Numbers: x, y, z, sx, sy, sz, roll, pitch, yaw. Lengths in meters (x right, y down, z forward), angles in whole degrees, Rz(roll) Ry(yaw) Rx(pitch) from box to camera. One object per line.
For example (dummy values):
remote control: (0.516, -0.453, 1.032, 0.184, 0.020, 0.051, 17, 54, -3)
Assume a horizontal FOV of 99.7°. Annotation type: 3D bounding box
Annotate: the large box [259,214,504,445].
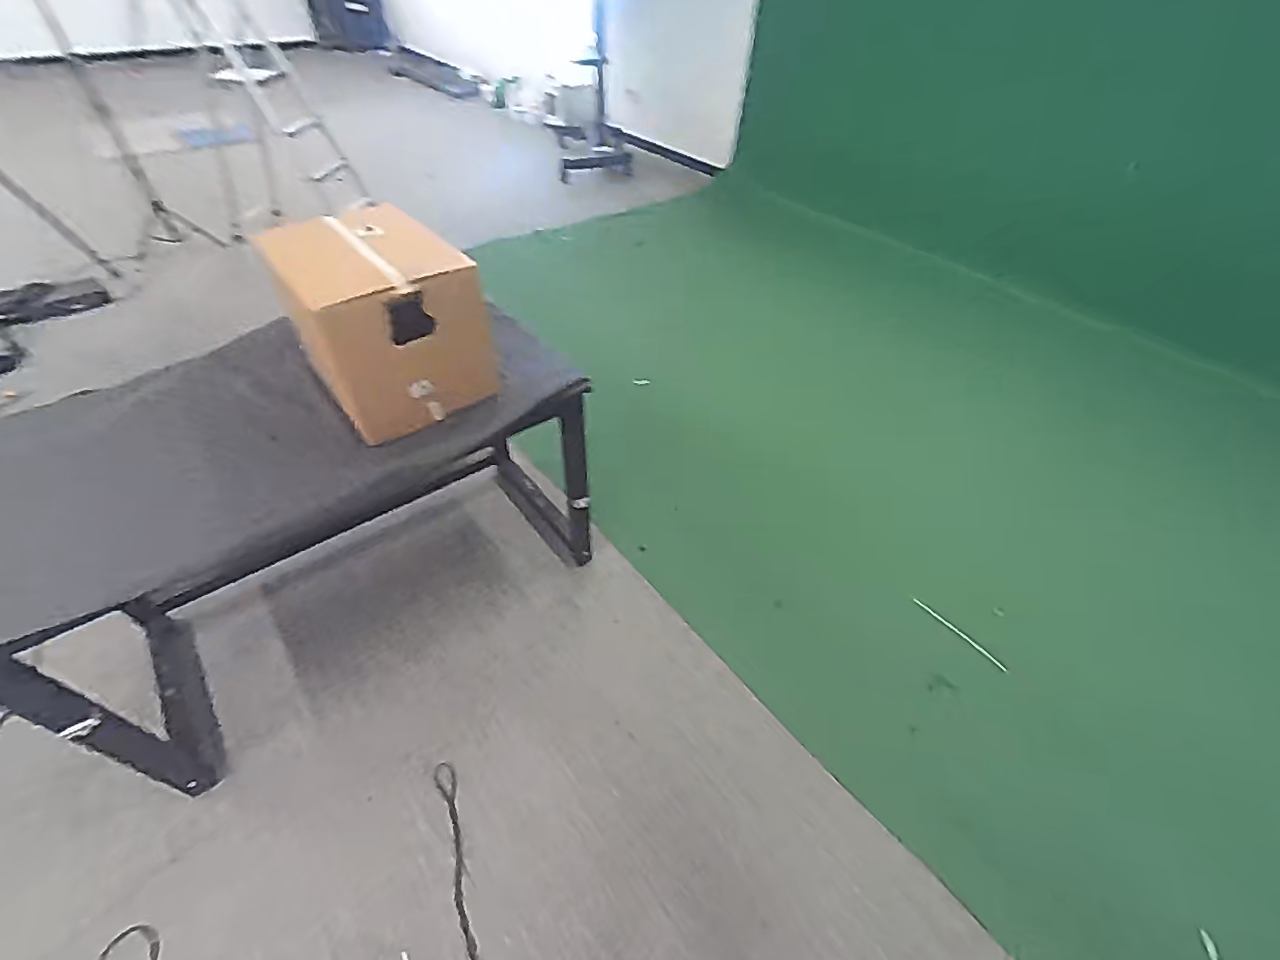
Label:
large box: (-0.555, -0.344, 1.200, 0.320, 0.320, 0.408, -29, 53, -28)
